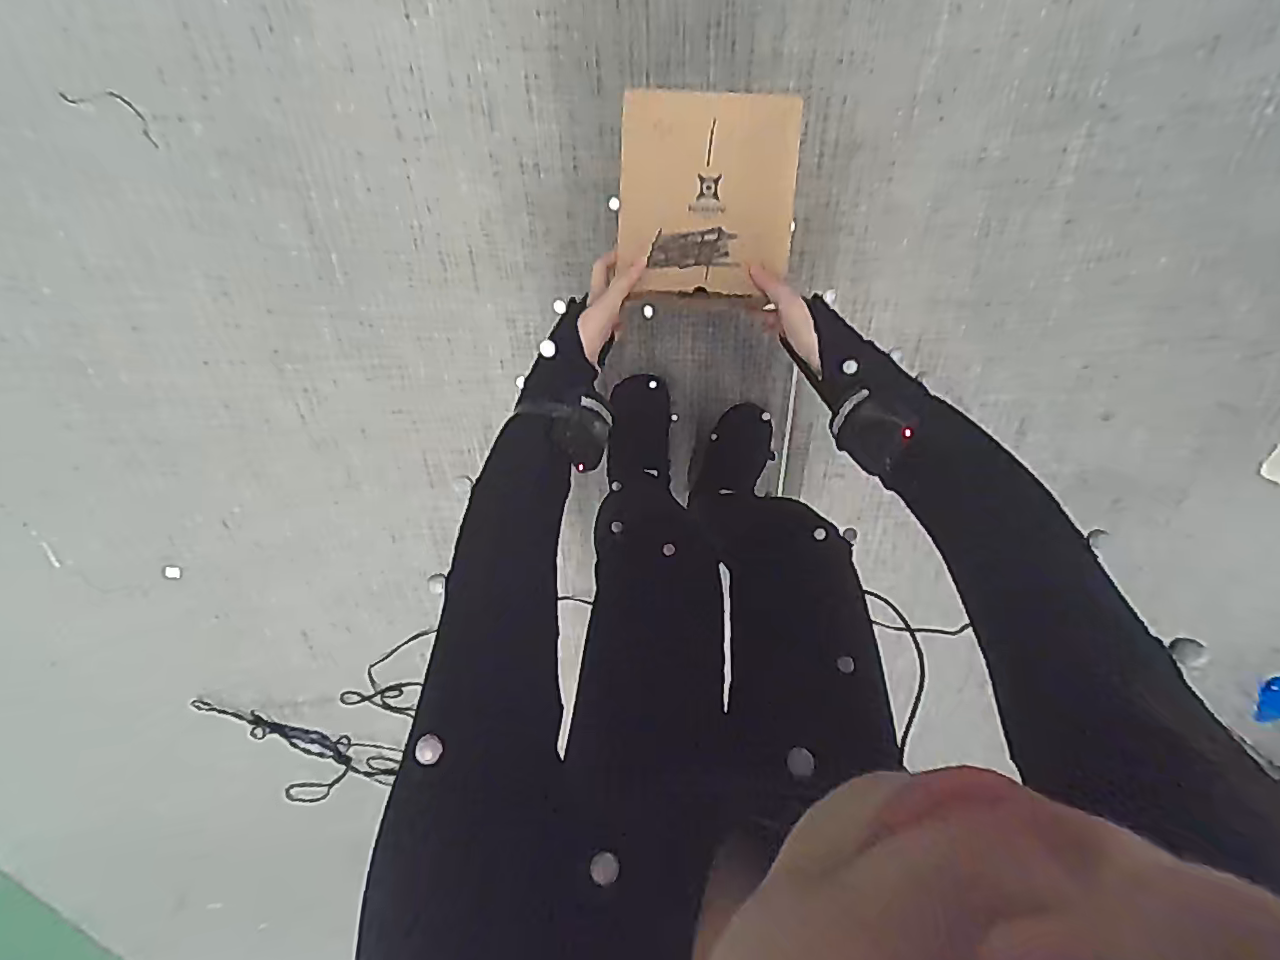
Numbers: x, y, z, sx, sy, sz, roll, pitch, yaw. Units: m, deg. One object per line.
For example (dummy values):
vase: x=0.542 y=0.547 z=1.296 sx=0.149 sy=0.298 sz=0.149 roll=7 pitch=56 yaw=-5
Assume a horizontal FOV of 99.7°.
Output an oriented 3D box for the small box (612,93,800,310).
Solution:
small box: x=0.061 y=-0.281 z=0.586 sx=0.168 sy=0.176 sz=0.179 roll=3 pitch=104 yaw=0
